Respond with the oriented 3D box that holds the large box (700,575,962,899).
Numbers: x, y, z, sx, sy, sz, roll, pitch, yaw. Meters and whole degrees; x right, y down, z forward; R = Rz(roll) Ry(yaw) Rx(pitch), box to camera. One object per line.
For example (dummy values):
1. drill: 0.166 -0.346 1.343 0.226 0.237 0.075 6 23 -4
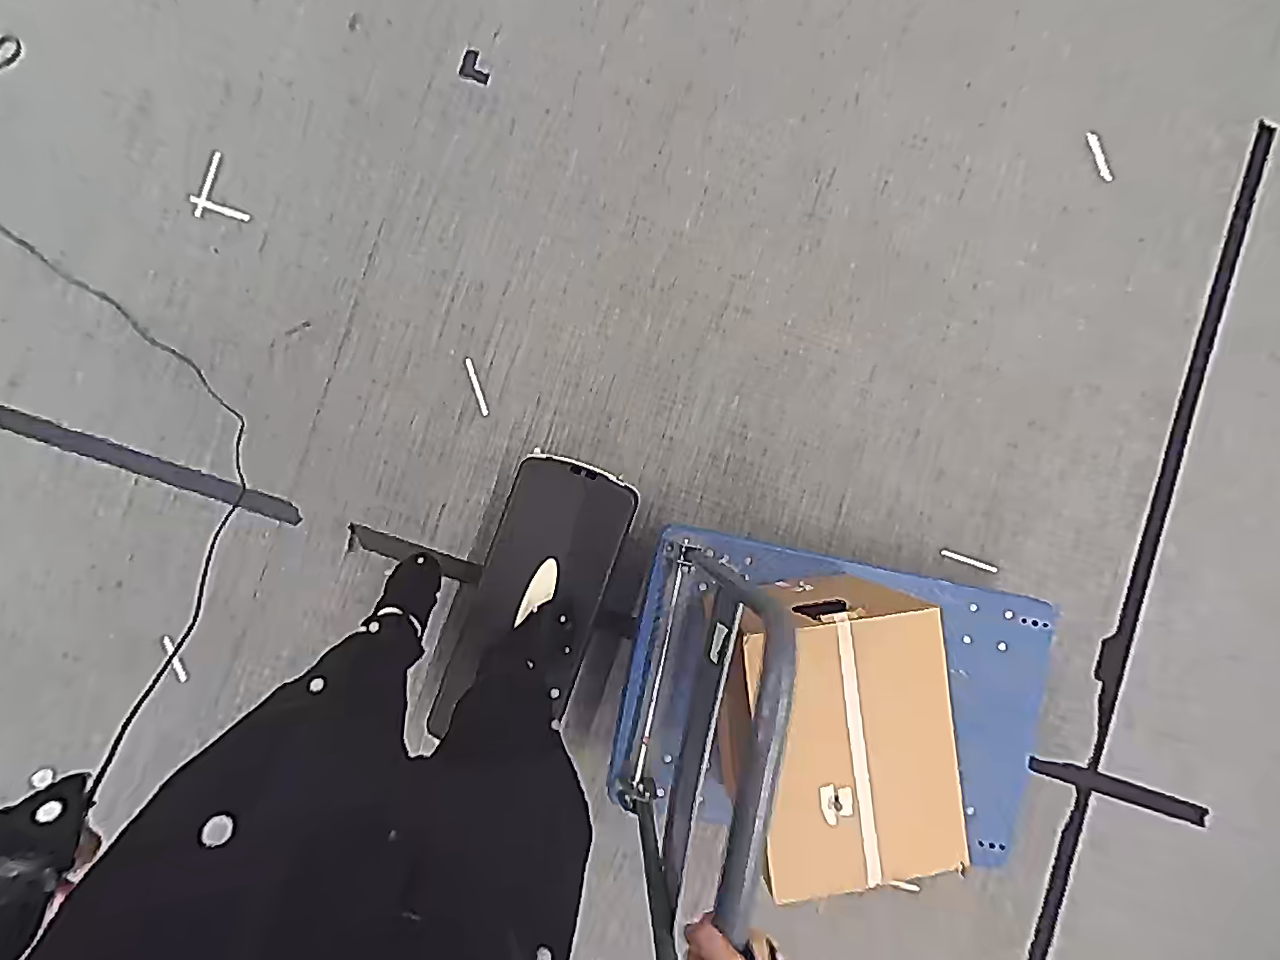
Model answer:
1. large box: 0.309 0.411 0.967 0.320 0.320 0.408 -6 91 -5
